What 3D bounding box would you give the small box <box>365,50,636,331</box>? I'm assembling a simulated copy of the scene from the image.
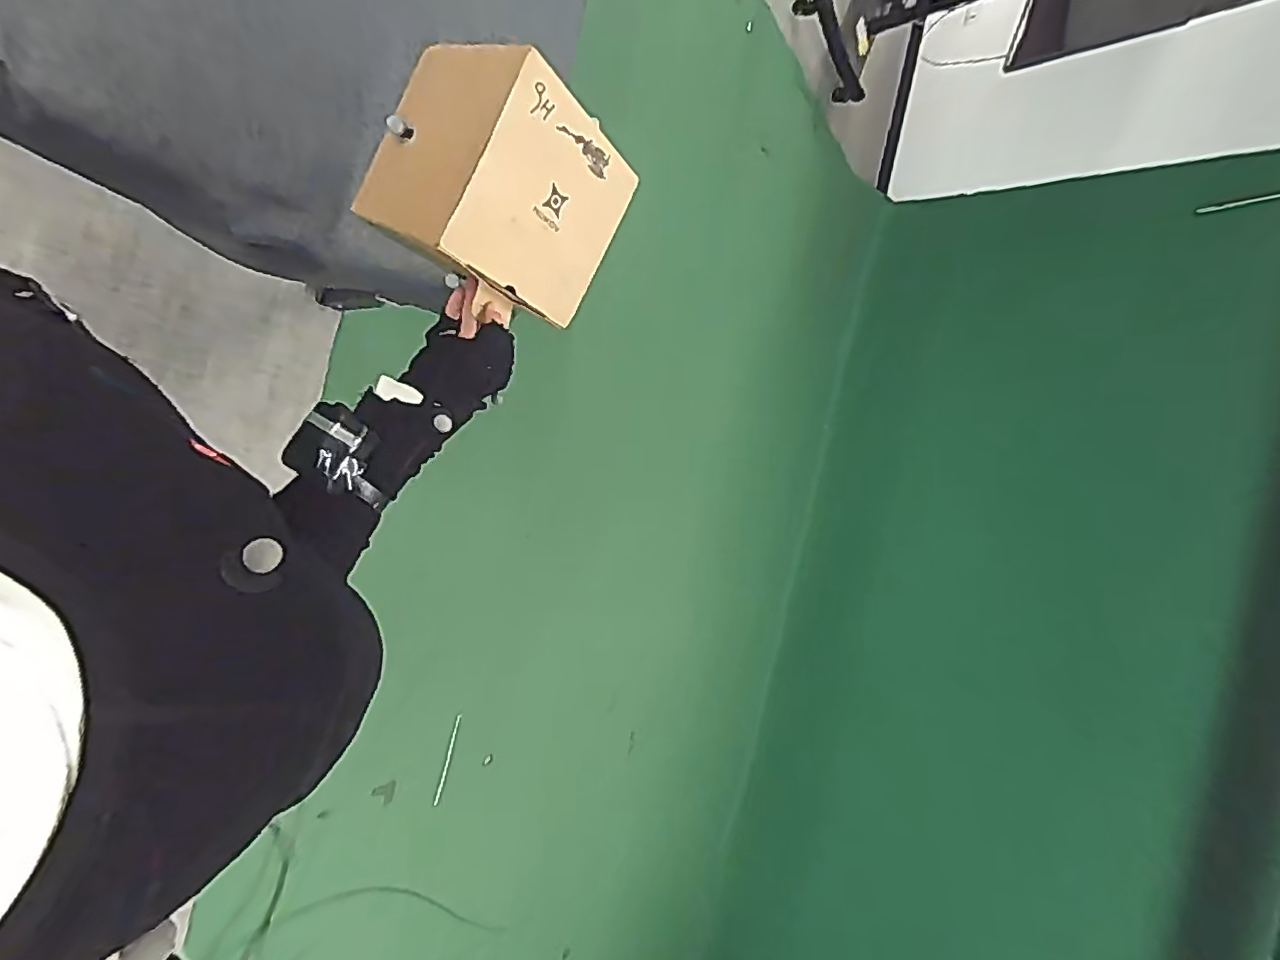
[{"bbox_3d":[-0.143,-0.284,0.543,0.168,0.176,0.179,19,101,-58],"label":"small box"}]
